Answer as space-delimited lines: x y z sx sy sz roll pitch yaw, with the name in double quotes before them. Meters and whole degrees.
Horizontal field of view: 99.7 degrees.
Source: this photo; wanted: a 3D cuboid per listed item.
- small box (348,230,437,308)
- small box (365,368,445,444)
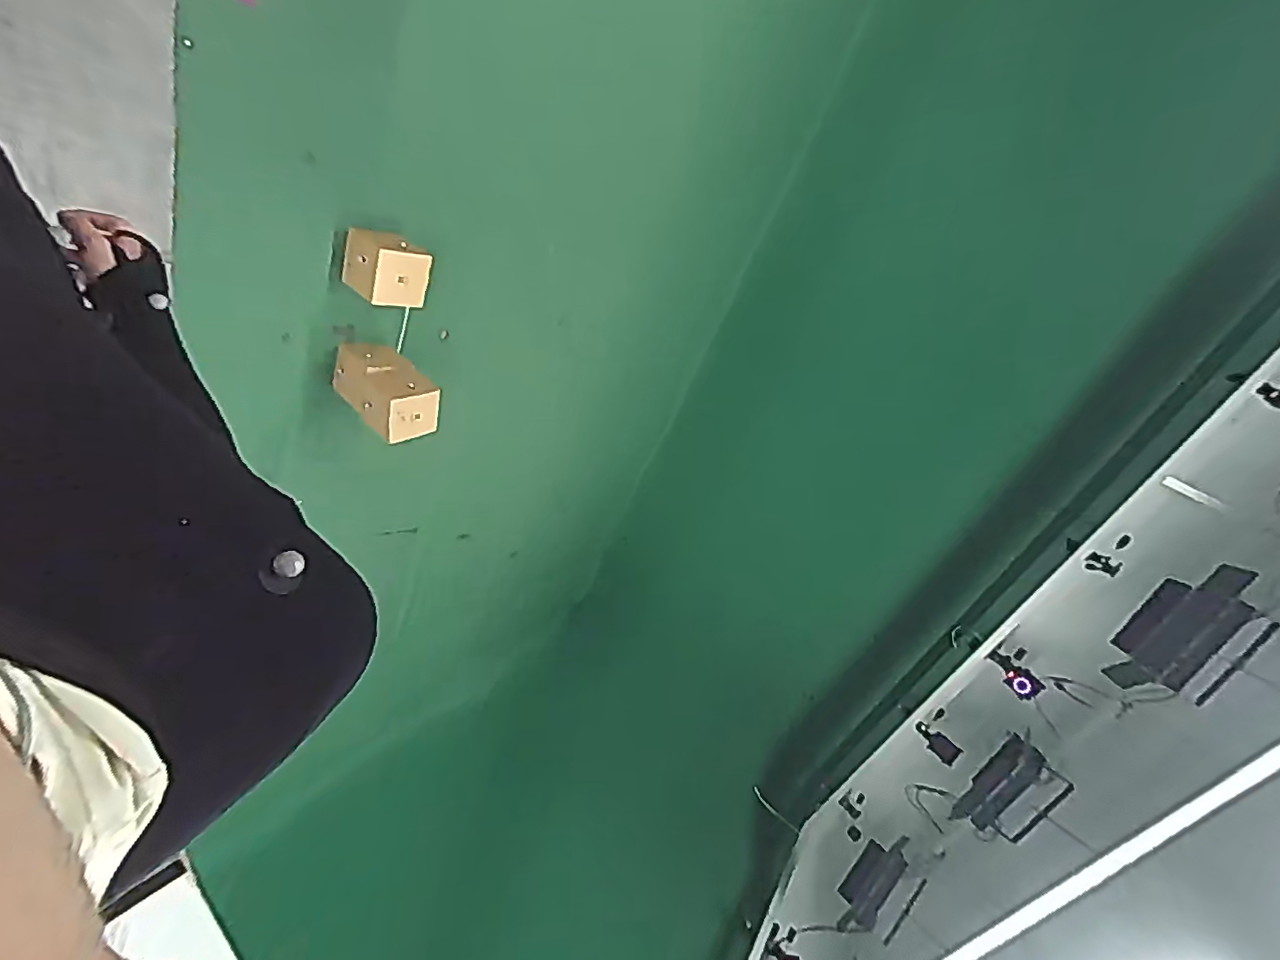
"small box" -0.756 -0.642 1.644 0.179 0.176 0.168 -21 142 -54
"small box" -0.768 -0.249 1.766 0.179 0.176 0.168 -26 146 -46
